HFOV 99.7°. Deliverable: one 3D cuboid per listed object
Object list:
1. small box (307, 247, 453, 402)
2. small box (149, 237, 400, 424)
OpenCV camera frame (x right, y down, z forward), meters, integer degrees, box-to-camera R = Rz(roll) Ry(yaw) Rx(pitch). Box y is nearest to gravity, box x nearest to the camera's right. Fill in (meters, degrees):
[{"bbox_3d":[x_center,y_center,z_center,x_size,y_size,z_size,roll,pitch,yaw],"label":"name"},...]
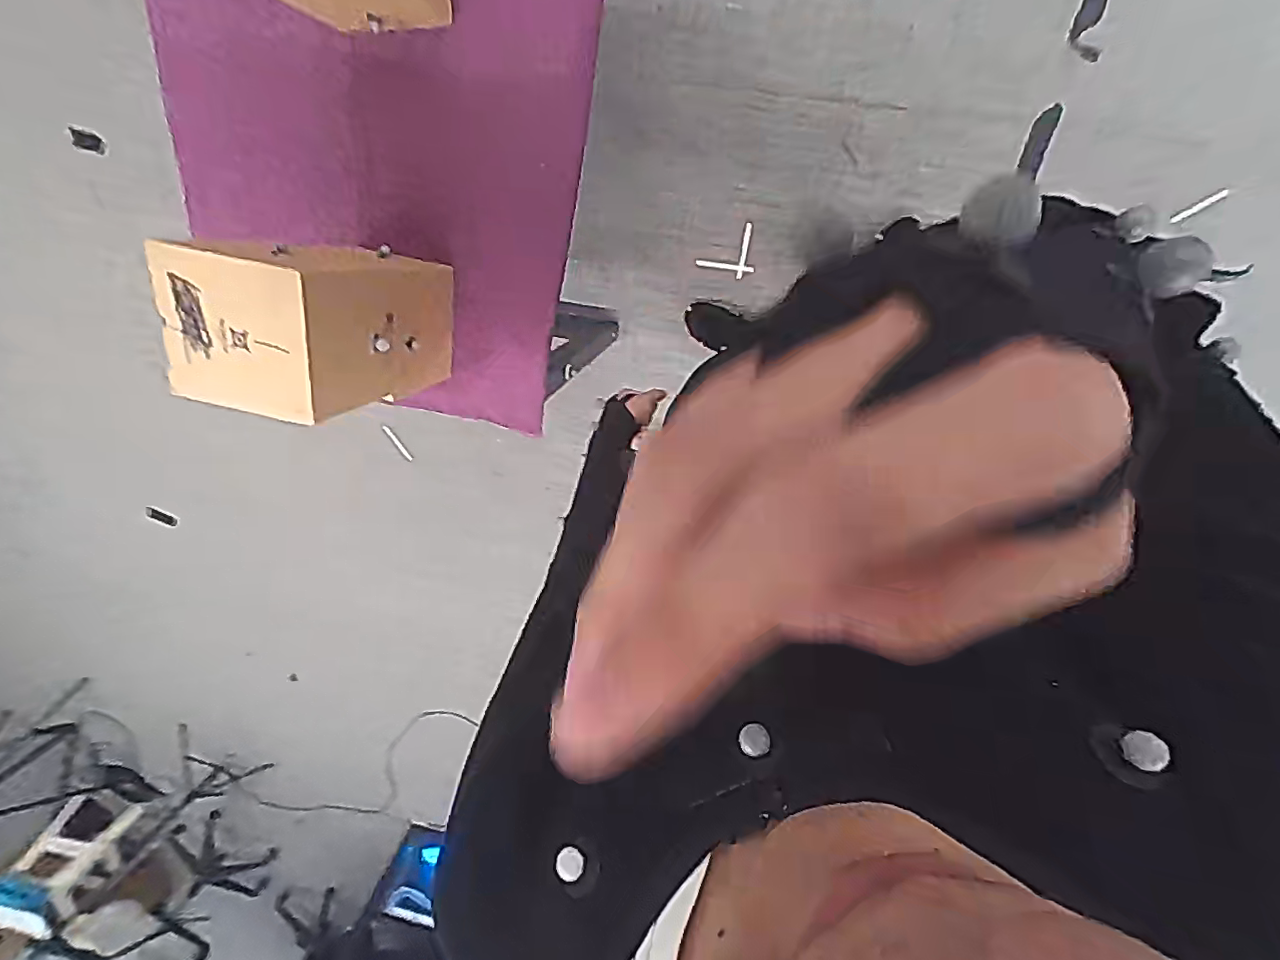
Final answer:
[{"bbox_3d":[-0.393,-0.236,0.798,0.168,0.176,0.179,14,114,4],"label":"small box"},{"bbox_3d":[-0.414,-0.183,0.643,0.179,0.176,0.168,13,114,4],"label":"small box"}]
